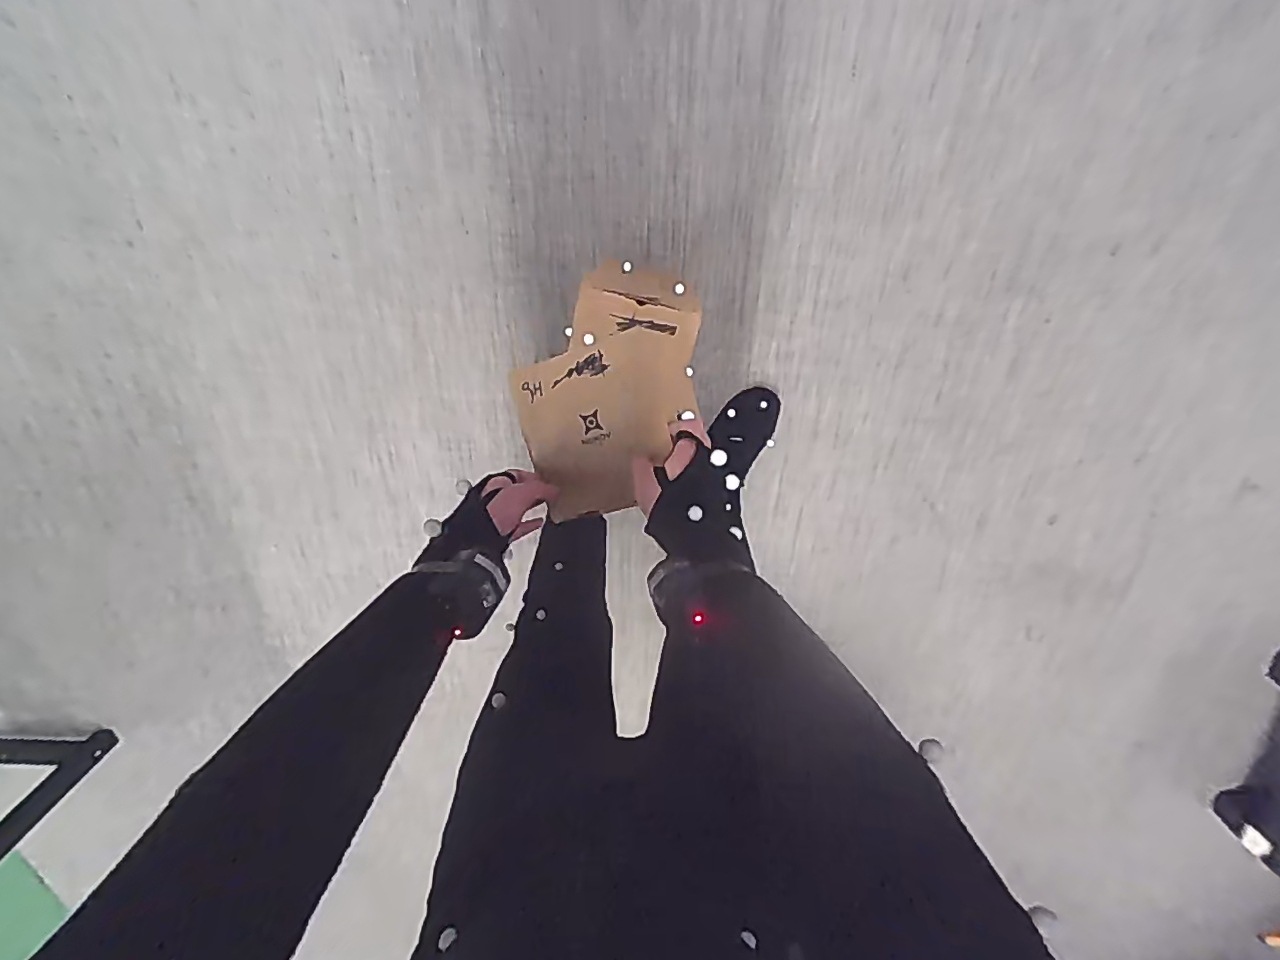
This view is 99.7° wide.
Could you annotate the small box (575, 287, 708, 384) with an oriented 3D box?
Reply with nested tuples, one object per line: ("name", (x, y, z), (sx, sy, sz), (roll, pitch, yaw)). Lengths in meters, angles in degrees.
("small box", (-0.005, -0.181, 0.820), (0.168, 0.176, 0.179), (15, 117, -3))

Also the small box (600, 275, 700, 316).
("small box", (0.001, -0.255, 0.967), (0.168, 0.176, 0.179), (13, 117, -3))

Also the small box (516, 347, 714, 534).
("small box", (-0.018, -0.052, 0.663), (0.168, 0.176, 0.179), (-15, 95, 19))
